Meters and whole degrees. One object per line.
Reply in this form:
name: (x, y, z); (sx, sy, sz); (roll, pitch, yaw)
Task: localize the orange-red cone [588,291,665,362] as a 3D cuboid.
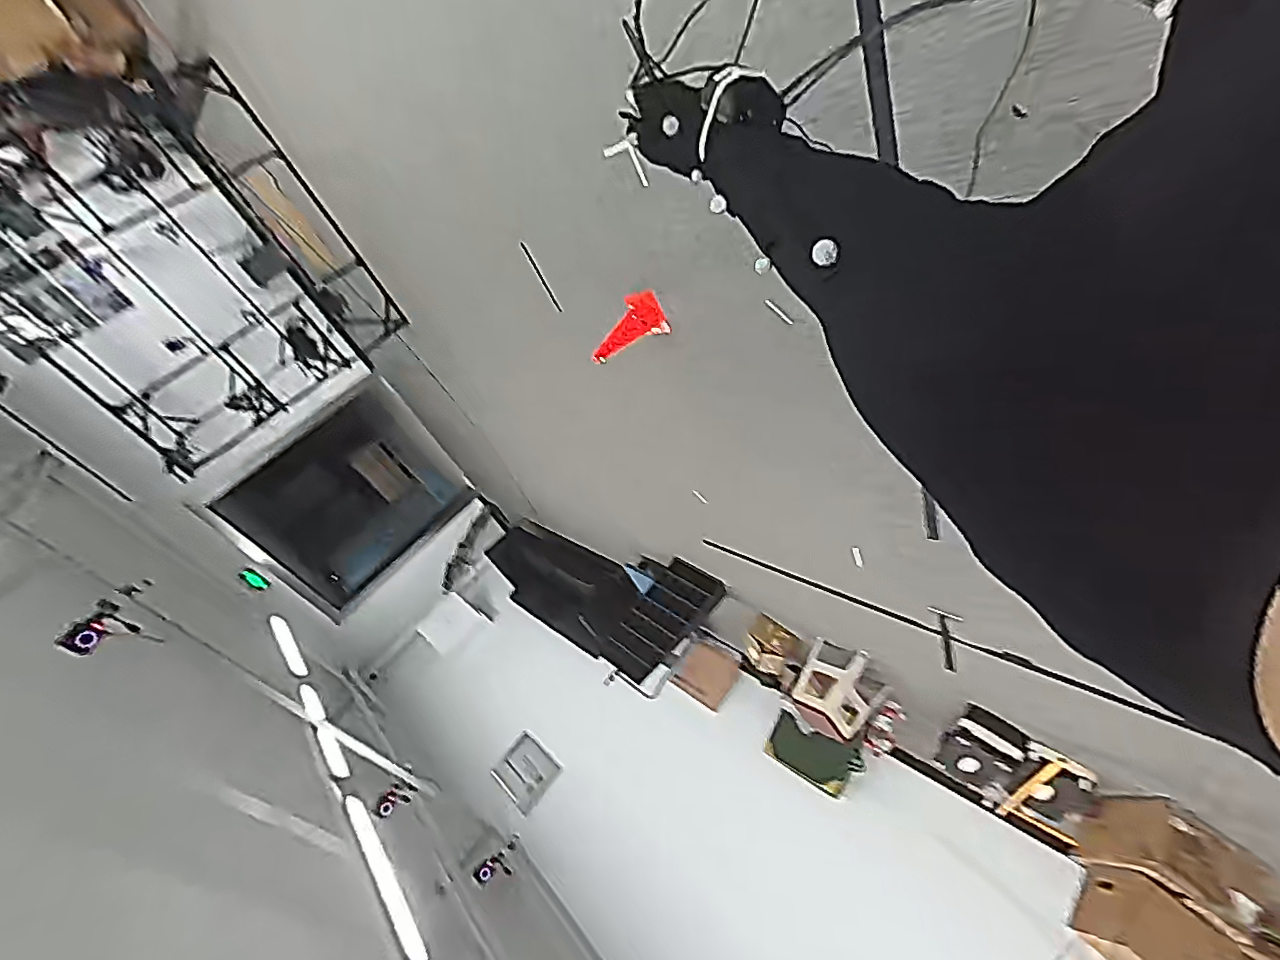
orange-red cone: (-0.093, -0.630, 2.338); (0.198, 0.360, 0.199); (15, 146, 50)
